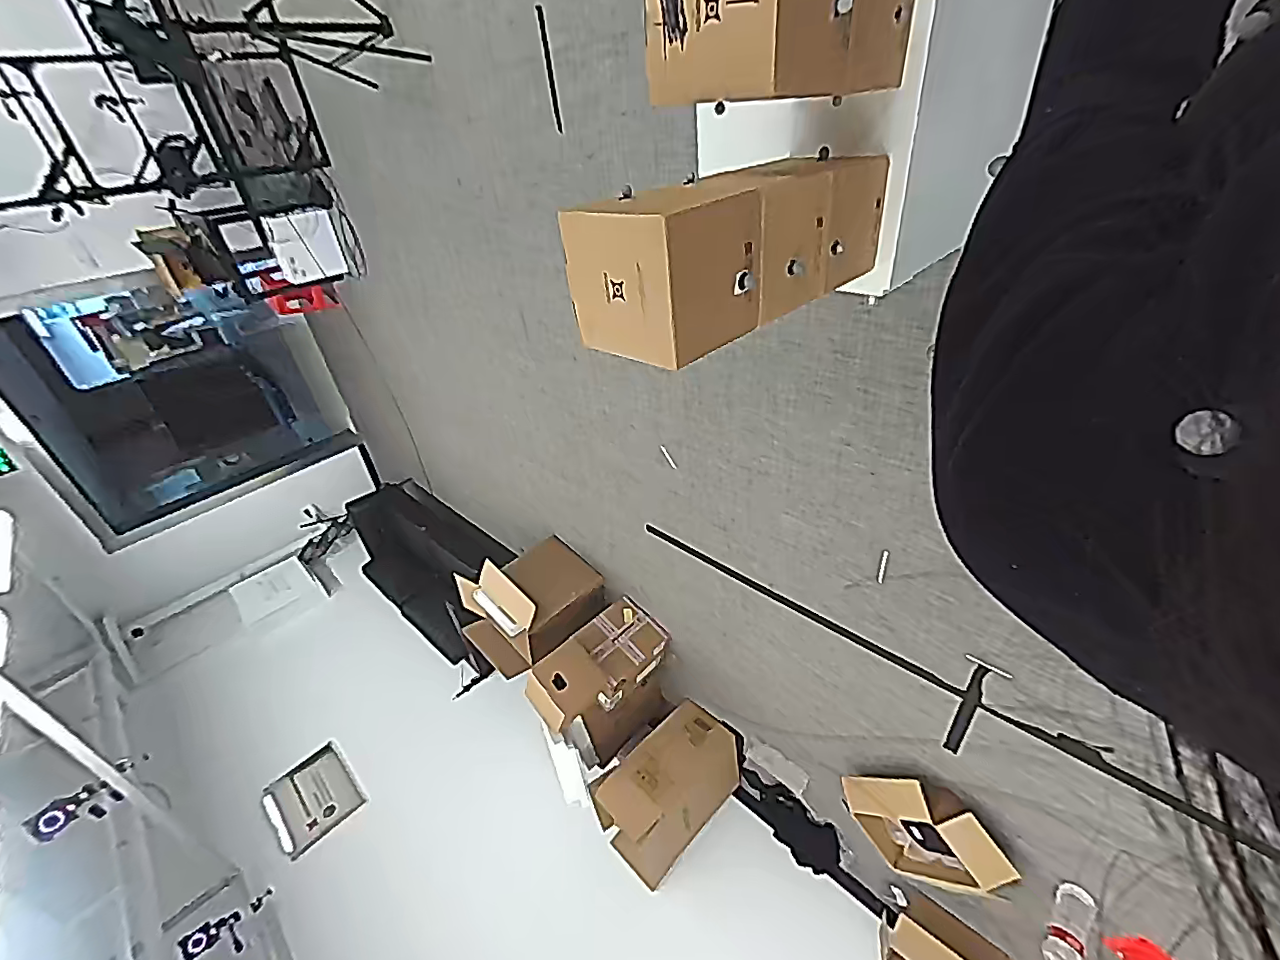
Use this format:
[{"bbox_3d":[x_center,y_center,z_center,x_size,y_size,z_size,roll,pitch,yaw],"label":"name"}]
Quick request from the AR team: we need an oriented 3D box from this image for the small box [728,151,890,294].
[{"bbox_3d":[0.254,-0.404,0.841,0.179,0.176,0.168,27,137,39],"label":"small box"}]

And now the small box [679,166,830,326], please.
[{"bbox_3d":[0.142,-0.330,0.750,0.179,0.176,0.168,25,136,39],"label":"small box"}]

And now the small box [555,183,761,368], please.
[{"bbox_3d":[0.027,-0.257,0.662,0.179,0.176,0.168,24,136,39],"label":"small box"}]

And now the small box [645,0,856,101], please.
[{"bbox_3d":[0.123,-0.530,0.604,0.179,0.176,0.168,26,137,36],"label":"small box"}]
